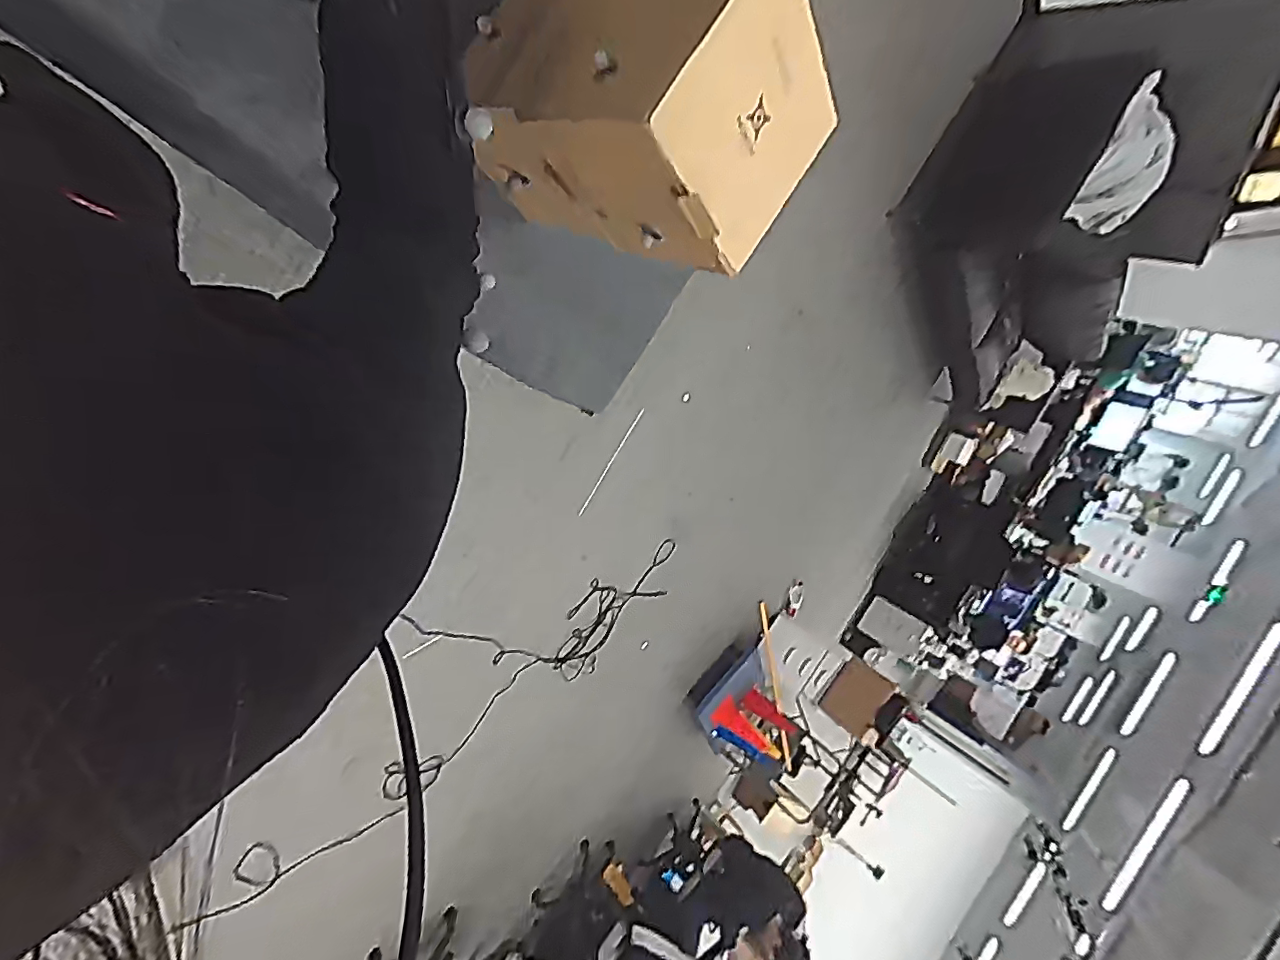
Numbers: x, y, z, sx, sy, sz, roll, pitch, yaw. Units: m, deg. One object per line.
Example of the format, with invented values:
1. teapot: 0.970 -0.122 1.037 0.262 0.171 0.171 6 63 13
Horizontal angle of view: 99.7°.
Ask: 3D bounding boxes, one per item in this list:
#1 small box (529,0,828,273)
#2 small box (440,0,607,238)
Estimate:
1. small box: 0.030 -0.316 0.473 0.179 0.176 0.168 -58 143 -2
2. small box: -0.080 -0.390 0.568 0.179 0.176 0.168 -57 142 -2
